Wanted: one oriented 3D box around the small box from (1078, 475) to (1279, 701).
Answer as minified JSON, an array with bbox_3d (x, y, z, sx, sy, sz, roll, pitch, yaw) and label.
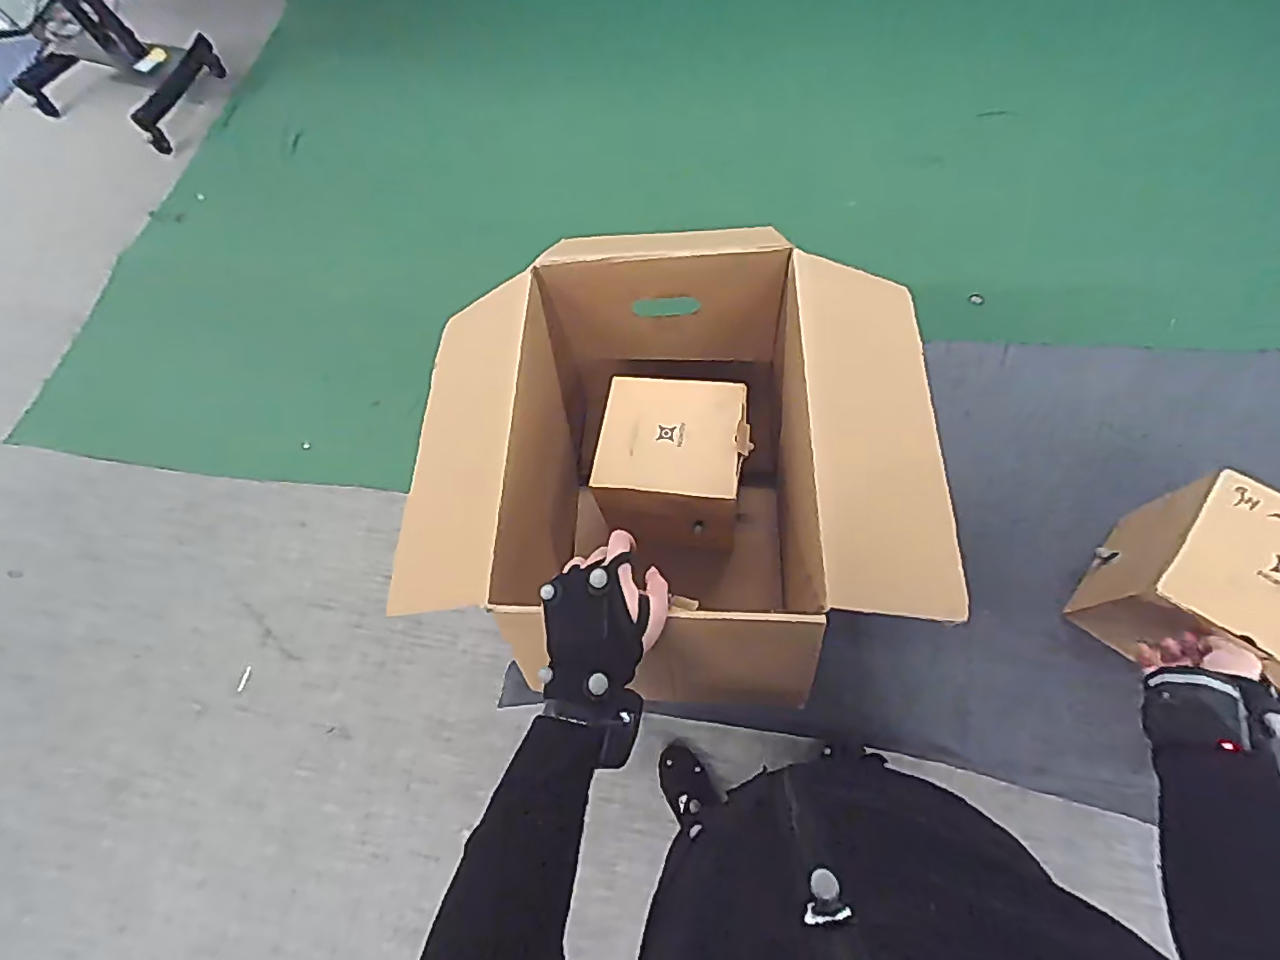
[{"bbox_3d":[0.656,0.133,0.617,0.168,0.176,0.179,37,78,21],"label":"small box"}]
